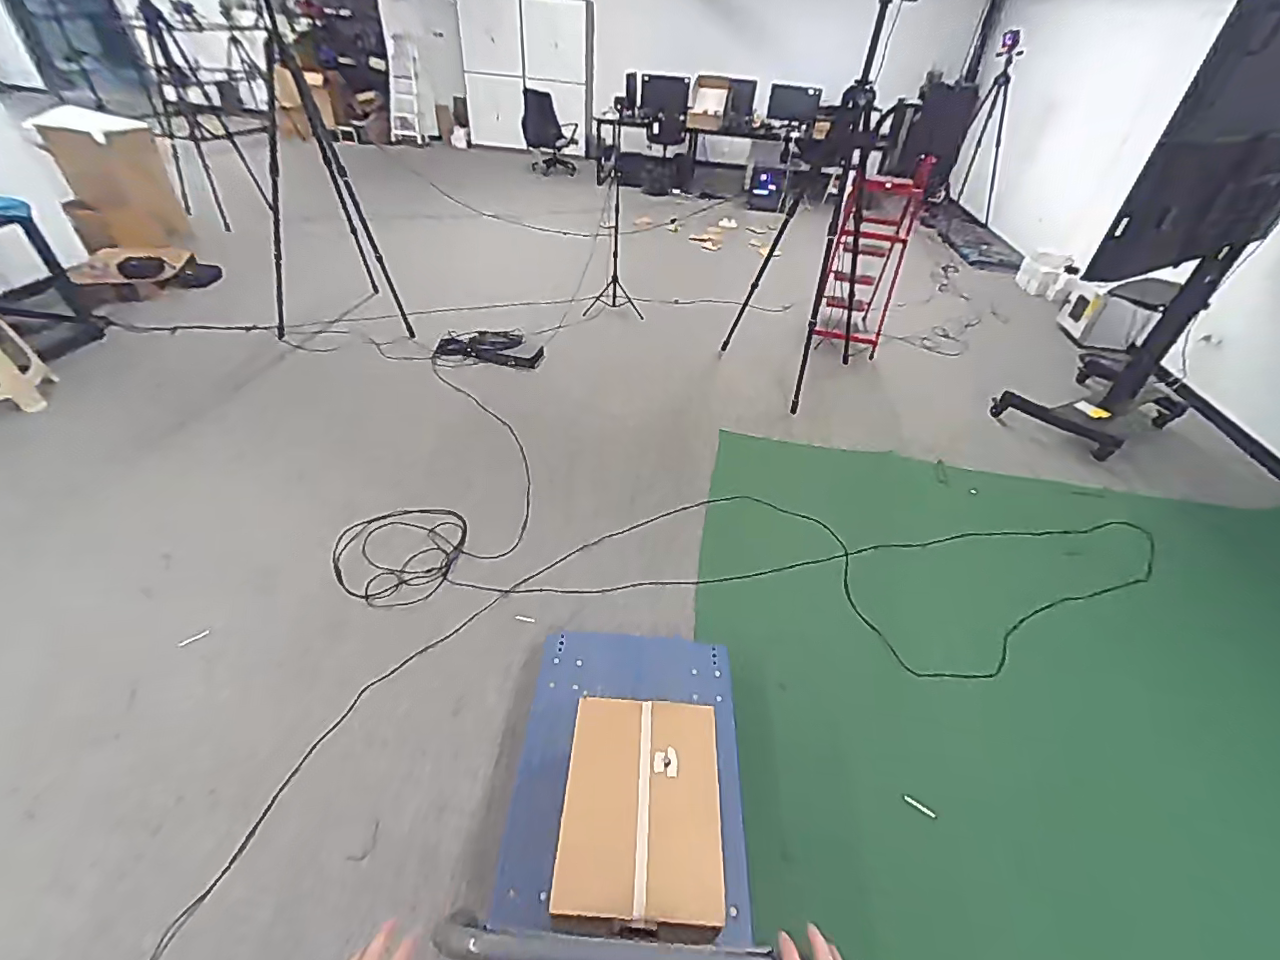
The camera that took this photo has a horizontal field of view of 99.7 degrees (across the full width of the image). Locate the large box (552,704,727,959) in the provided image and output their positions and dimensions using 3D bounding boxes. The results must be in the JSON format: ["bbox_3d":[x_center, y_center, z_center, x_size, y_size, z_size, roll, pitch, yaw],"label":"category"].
[{"bbox_3d":[-0.004,0.765,1.180,0.320,0.320,0.408,5,38,-1],"label":"large box"}]
